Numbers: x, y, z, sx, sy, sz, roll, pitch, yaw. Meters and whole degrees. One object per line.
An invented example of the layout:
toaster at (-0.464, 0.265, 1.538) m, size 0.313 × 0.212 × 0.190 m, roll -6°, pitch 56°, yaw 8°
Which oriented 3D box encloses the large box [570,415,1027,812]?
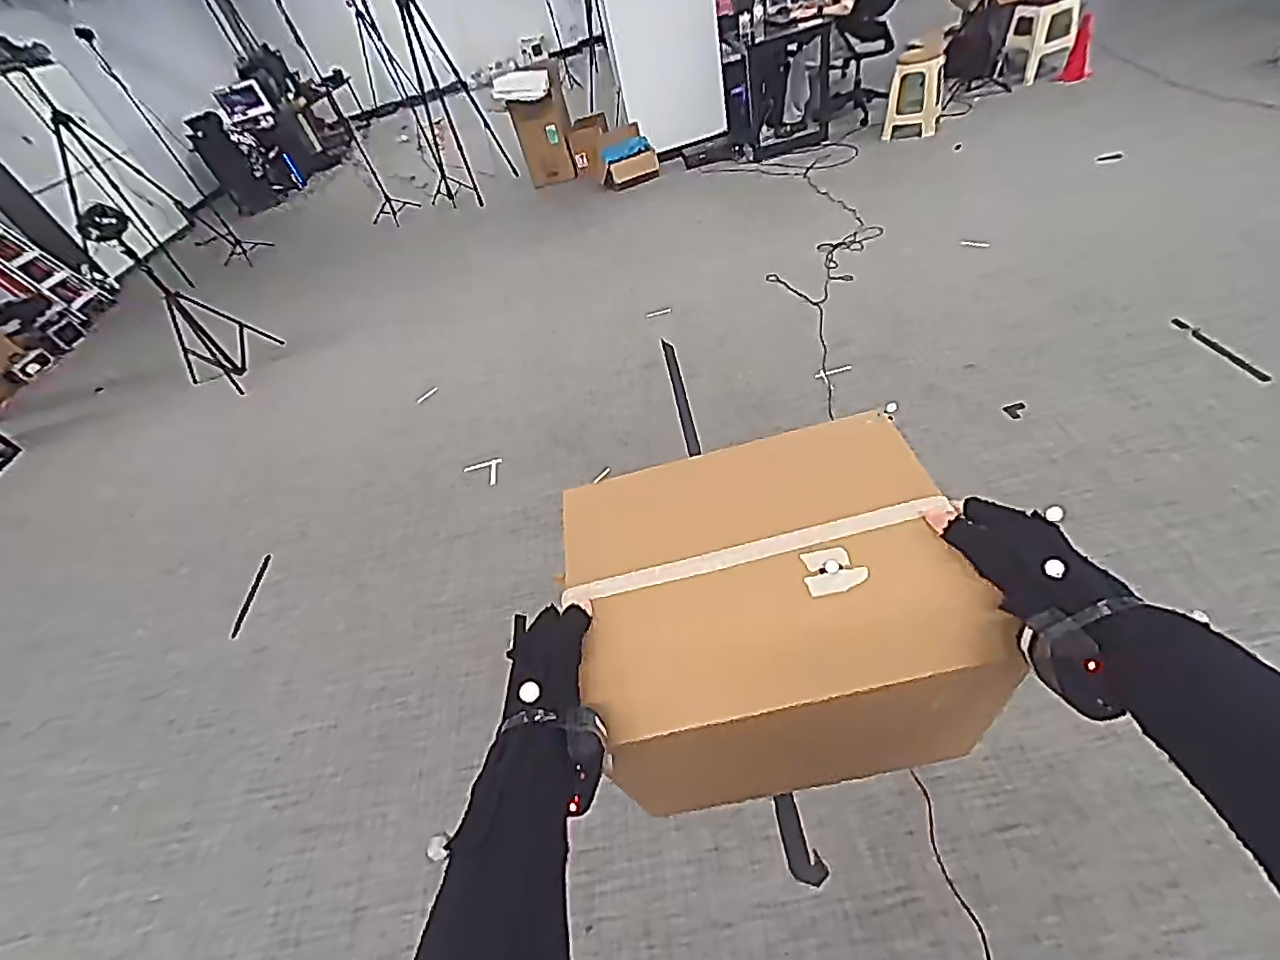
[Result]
large box at (0.153, 0.176, 0.683) m, size 0.408 × 0.320 × 0.320 m, roll -15°, pitch 47°, yaw 4°
